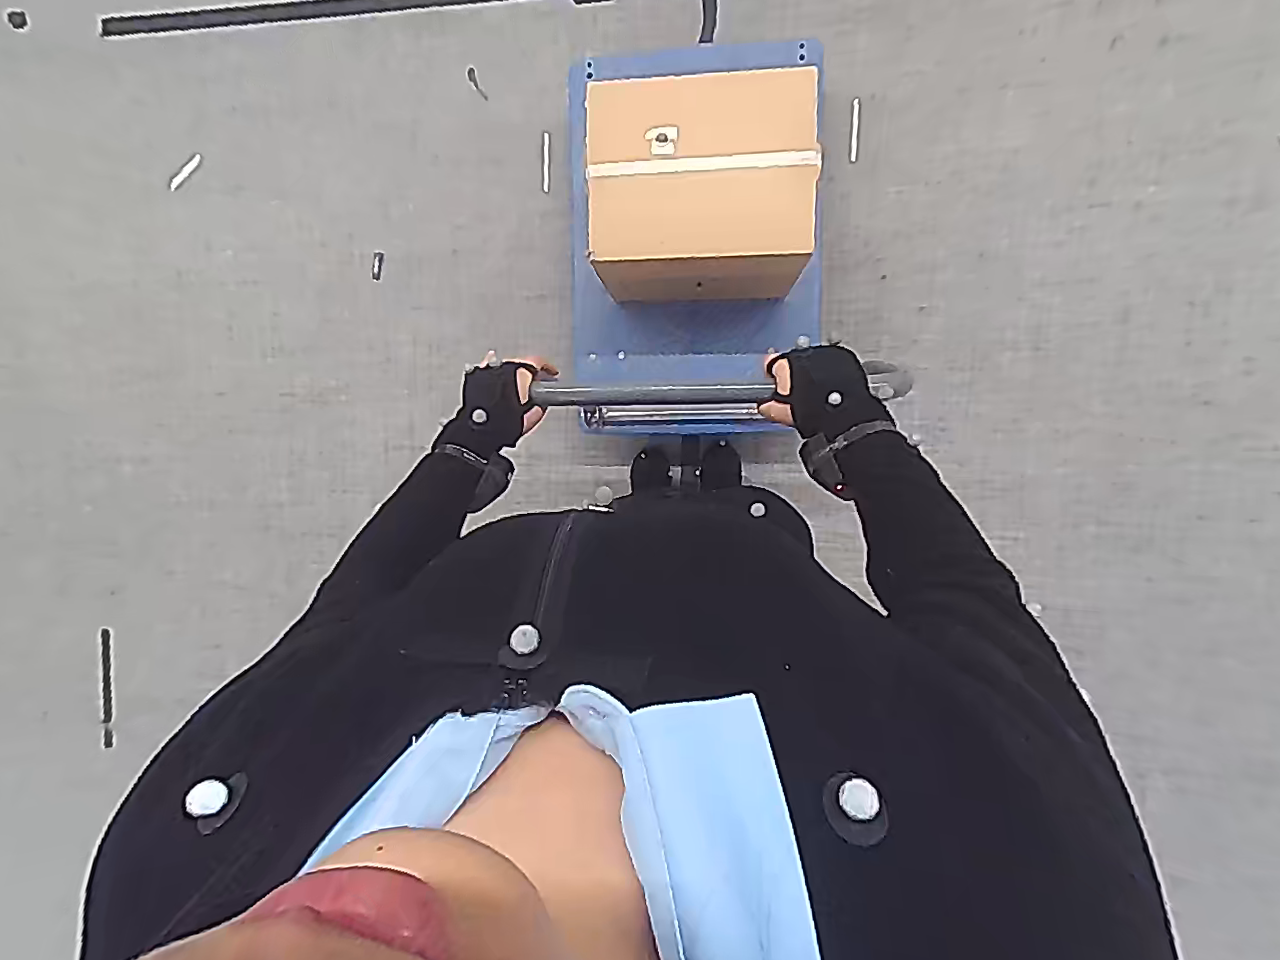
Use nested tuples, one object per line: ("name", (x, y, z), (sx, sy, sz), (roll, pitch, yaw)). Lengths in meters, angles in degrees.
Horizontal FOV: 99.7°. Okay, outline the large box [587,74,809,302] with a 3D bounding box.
("large box", (0.122, -0.570, 1.128), (0.408, 0.320, 0.320), (0, 94, 7))
